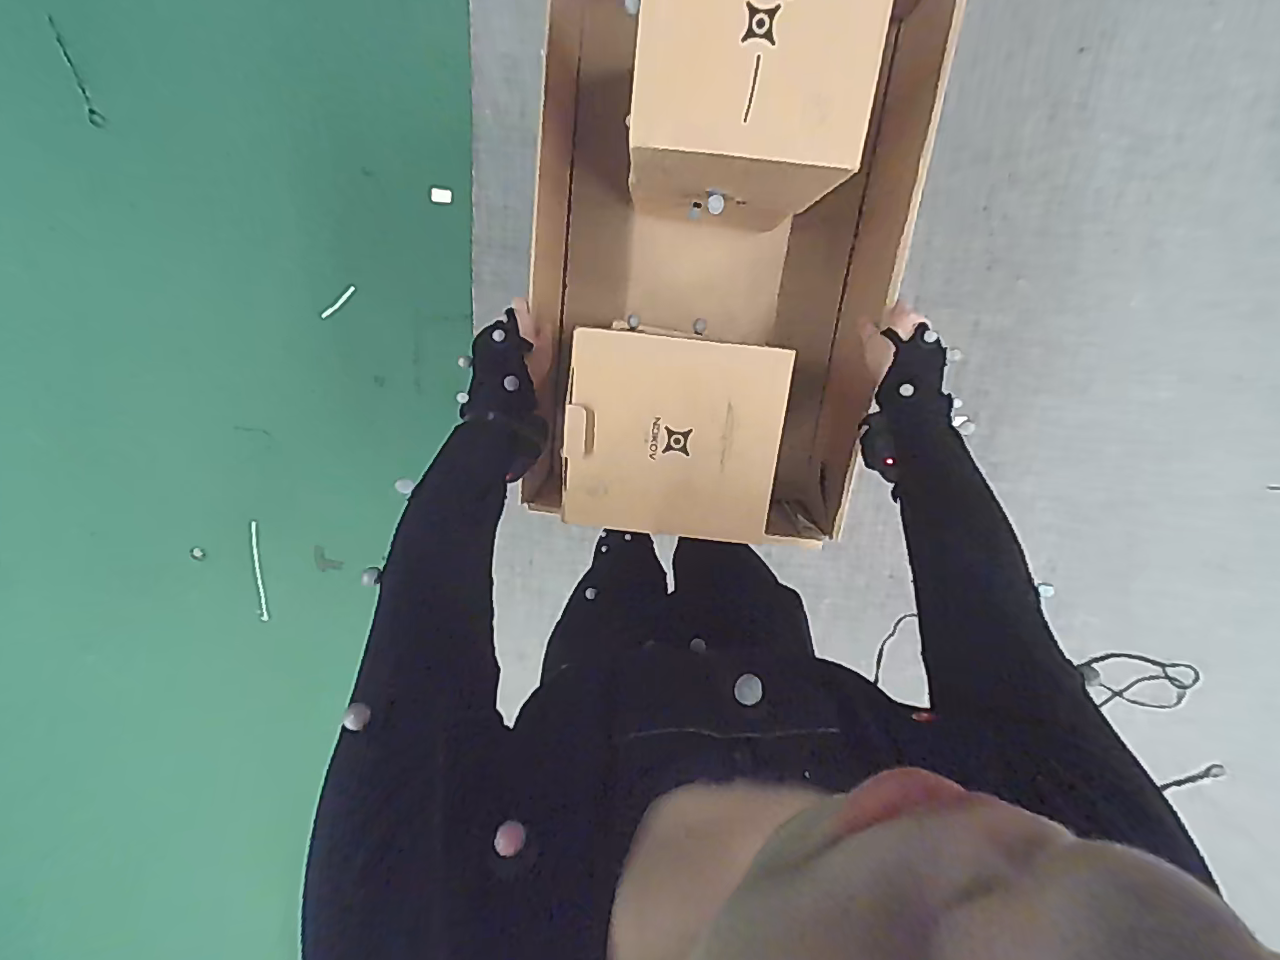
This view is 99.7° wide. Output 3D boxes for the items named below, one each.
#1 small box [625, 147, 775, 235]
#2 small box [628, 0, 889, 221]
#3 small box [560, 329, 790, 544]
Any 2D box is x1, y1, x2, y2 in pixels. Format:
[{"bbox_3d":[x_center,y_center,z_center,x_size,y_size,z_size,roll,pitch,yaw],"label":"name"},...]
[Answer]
[{"bbox_3d":[0.084,-0.378,0.596,0.179,0.176,0.168,8,107,0],"label":"small box"},{"bbox_3d":[0.083,-0.327,0.439,0.168,0.176,0.179,7,108,0],"label":"small box"},{"bbox_3d":[0.026,-0.052,0.524,0.179,0.176,0.168,5,106,-1],"label":"small box"}]
